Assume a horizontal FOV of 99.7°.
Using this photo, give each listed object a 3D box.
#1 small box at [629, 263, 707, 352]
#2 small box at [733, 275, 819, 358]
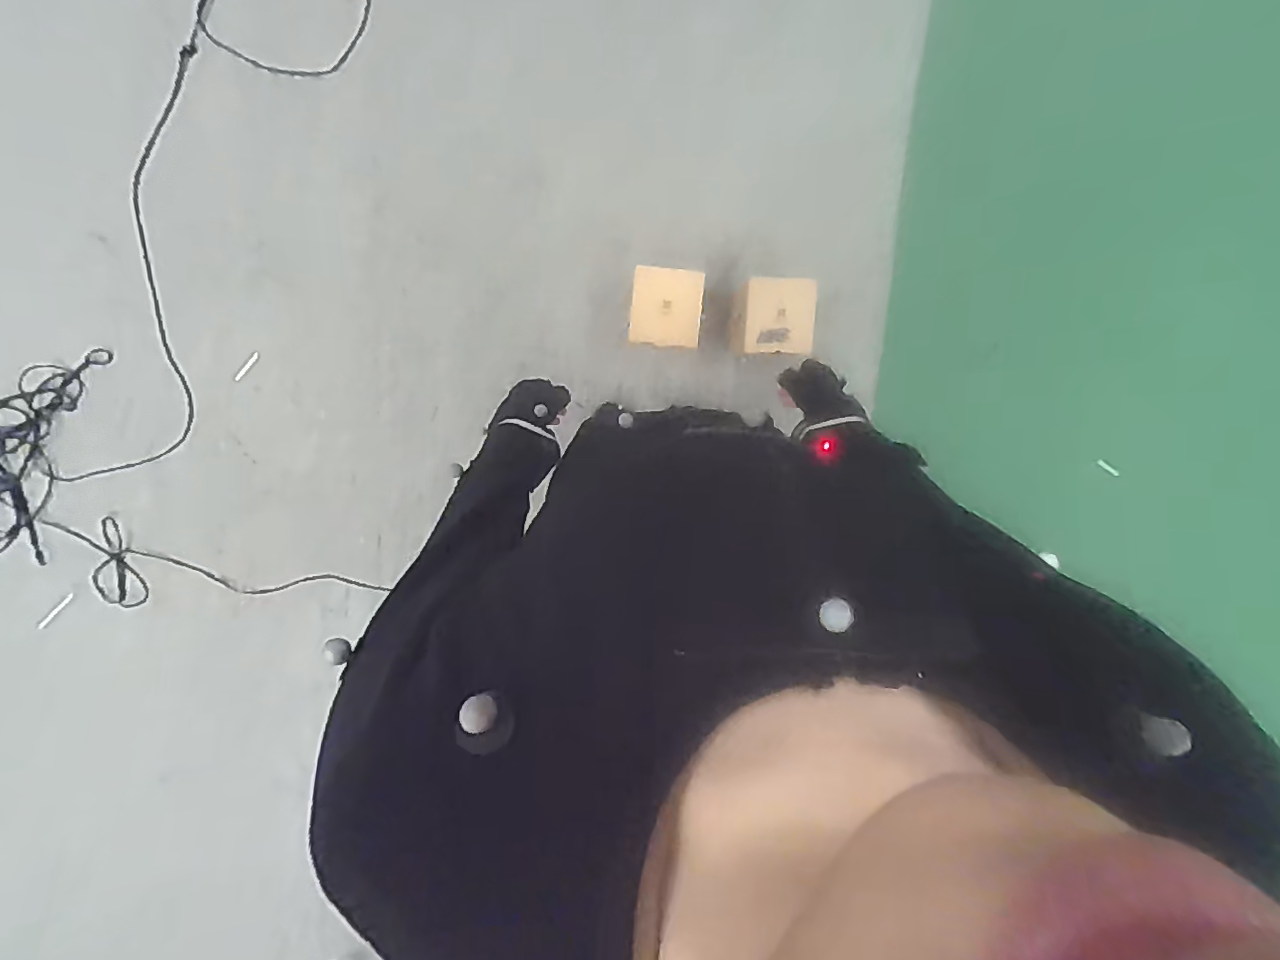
[{"bbox_3d":[0.062,-0.418,1.334,0.168,0.176,0.179,5,99,-3],"label":"small box"},{"bbox_3d":[0.330,-0.398,1.344,0.168,0.176,0.179,2,99,-2],"label":"small box"}]
